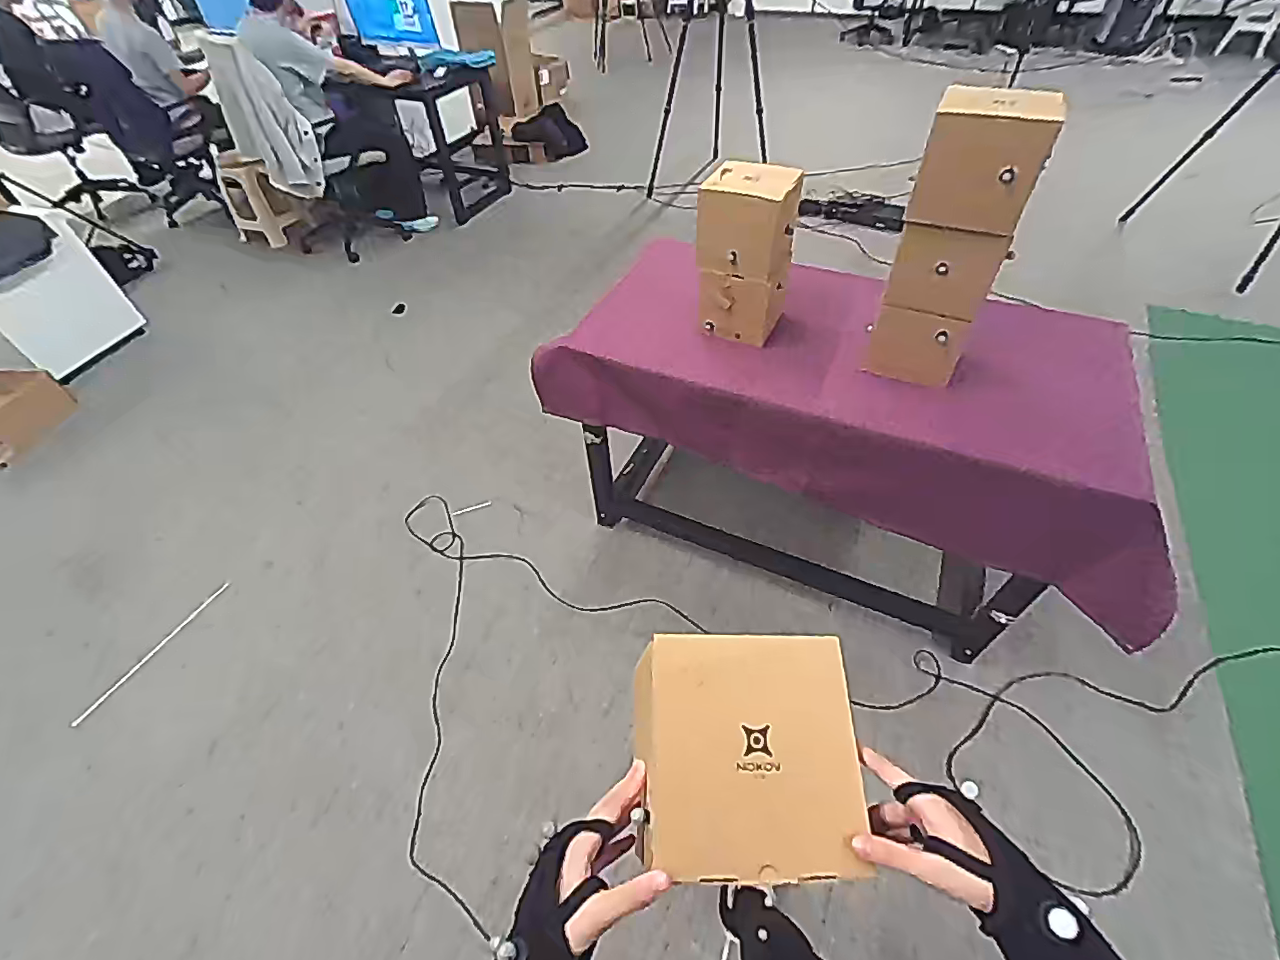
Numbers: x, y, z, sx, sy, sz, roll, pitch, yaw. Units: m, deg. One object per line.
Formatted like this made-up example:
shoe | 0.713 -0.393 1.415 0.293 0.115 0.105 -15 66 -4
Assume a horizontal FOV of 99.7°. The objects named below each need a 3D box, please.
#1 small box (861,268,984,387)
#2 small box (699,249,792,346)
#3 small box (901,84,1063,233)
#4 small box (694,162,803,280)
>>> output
small box | 0.598 -0.323 1.154 0.179 0.176 0.168 20 52 19
small box | 0.246 -0.442 1.282 0.168 0.176 0.179 19 52 18
small box | 0.566 -0.536 0.907 0.179 0.176 0.168 19 52 20
small box | 0.228 -0.554 1.162 0.179 0.176 0.168 20 52 19
